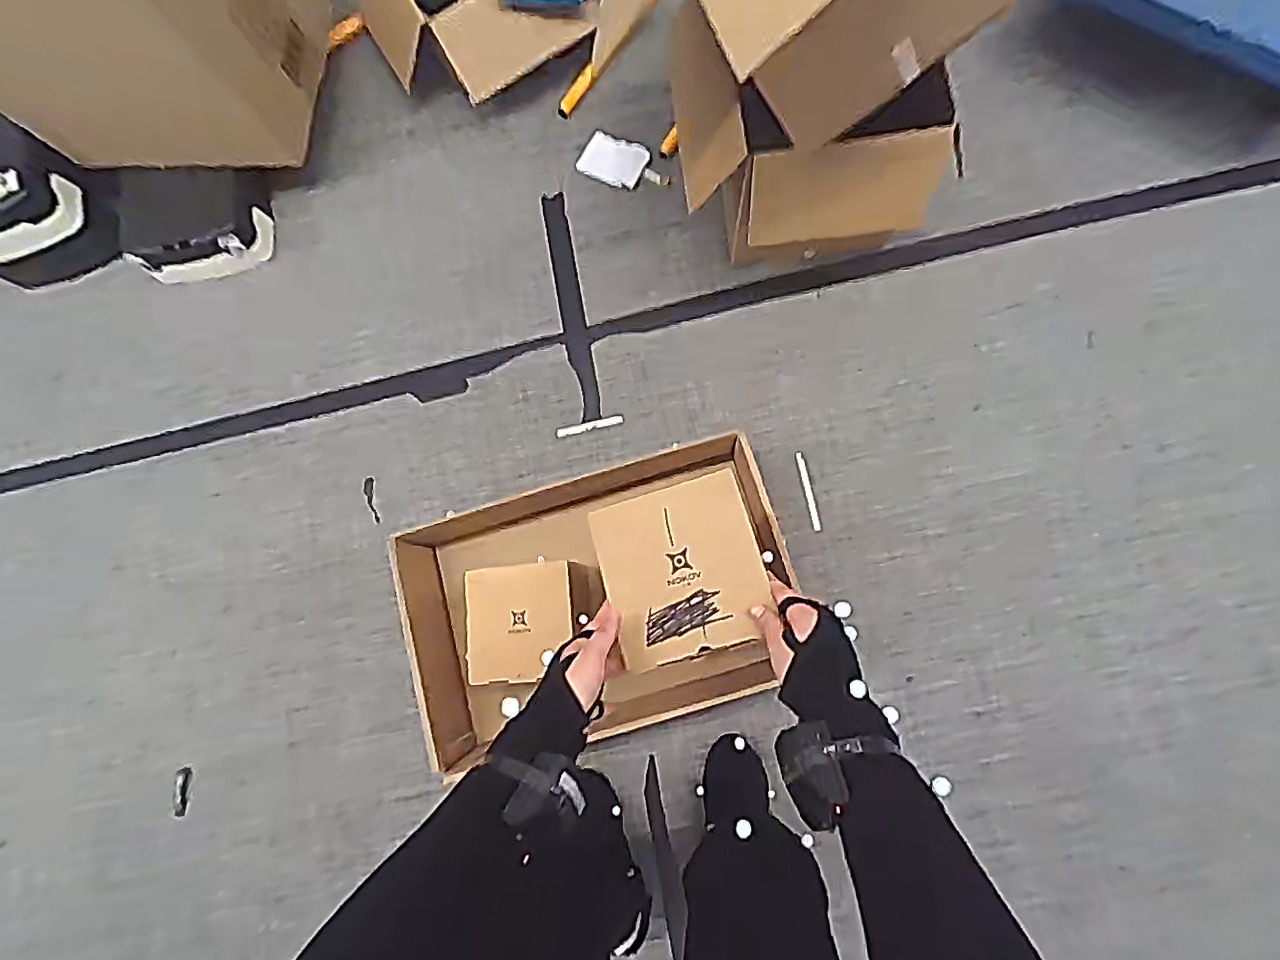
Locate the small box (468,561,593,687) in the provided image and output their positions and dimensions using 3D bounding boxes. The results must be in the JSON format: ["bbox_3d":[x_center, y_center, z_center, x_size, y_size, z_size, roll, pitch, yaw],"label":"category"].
[{"bbox_3d":[-0.176,0.235,0.904,0.168,0.176,0.179,-7,79,3],"label":"small box"}]

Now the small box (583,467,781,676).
[{"bbox_3d":[0.053,0.104,0.618,0.168,0.176,0.179,-18,76,7],"label":"small box"}]
